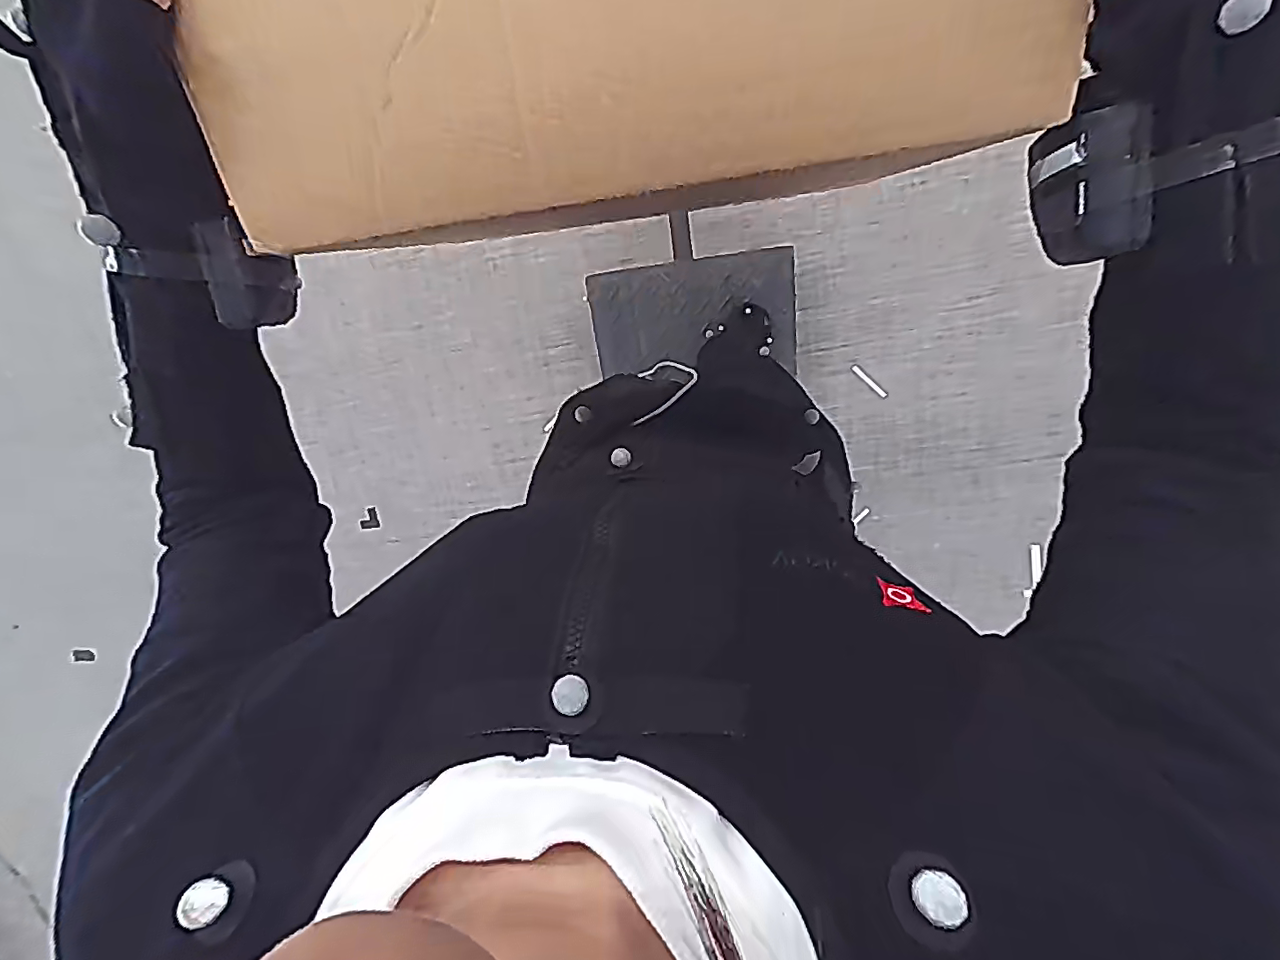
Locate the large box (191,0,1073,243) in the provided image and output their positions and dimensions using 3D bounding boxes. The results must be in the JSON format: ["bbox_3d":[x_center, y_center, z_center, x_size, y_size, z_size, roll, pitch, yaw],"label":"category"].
[{"bbox_3d":[-0.014,-0.354,0.348,0.408,0.320,0.320,-5,115,9],"label":"large box"}]
